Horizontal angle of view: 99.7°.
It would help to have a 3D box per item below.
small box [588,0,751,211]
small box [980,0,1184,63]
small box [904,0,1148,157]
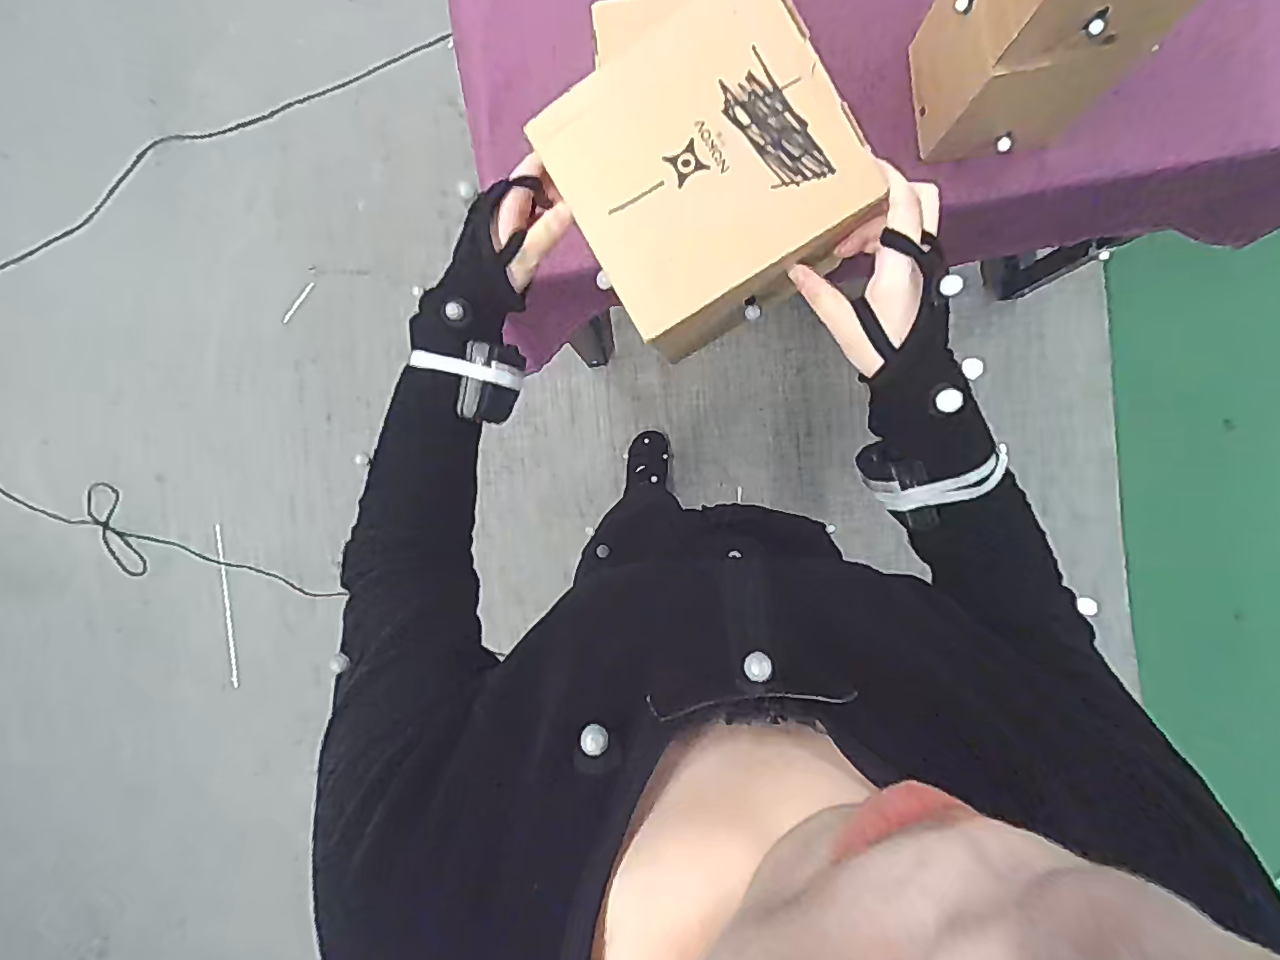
[{"bbox_3d":[0.038,-0.468,0.691,0.179,0.176,0.168,-5,91,3],"label":"small box"},{"bbox_3d":[0.439,-0.540,0.499,0.168,0.176,0.179,-6,91,4],"label":"small box"},{"bbox_3d":[0.453,-0.531,0.662,0.179,0.176,0.168,-7,90,3],"label":"small box"}]
